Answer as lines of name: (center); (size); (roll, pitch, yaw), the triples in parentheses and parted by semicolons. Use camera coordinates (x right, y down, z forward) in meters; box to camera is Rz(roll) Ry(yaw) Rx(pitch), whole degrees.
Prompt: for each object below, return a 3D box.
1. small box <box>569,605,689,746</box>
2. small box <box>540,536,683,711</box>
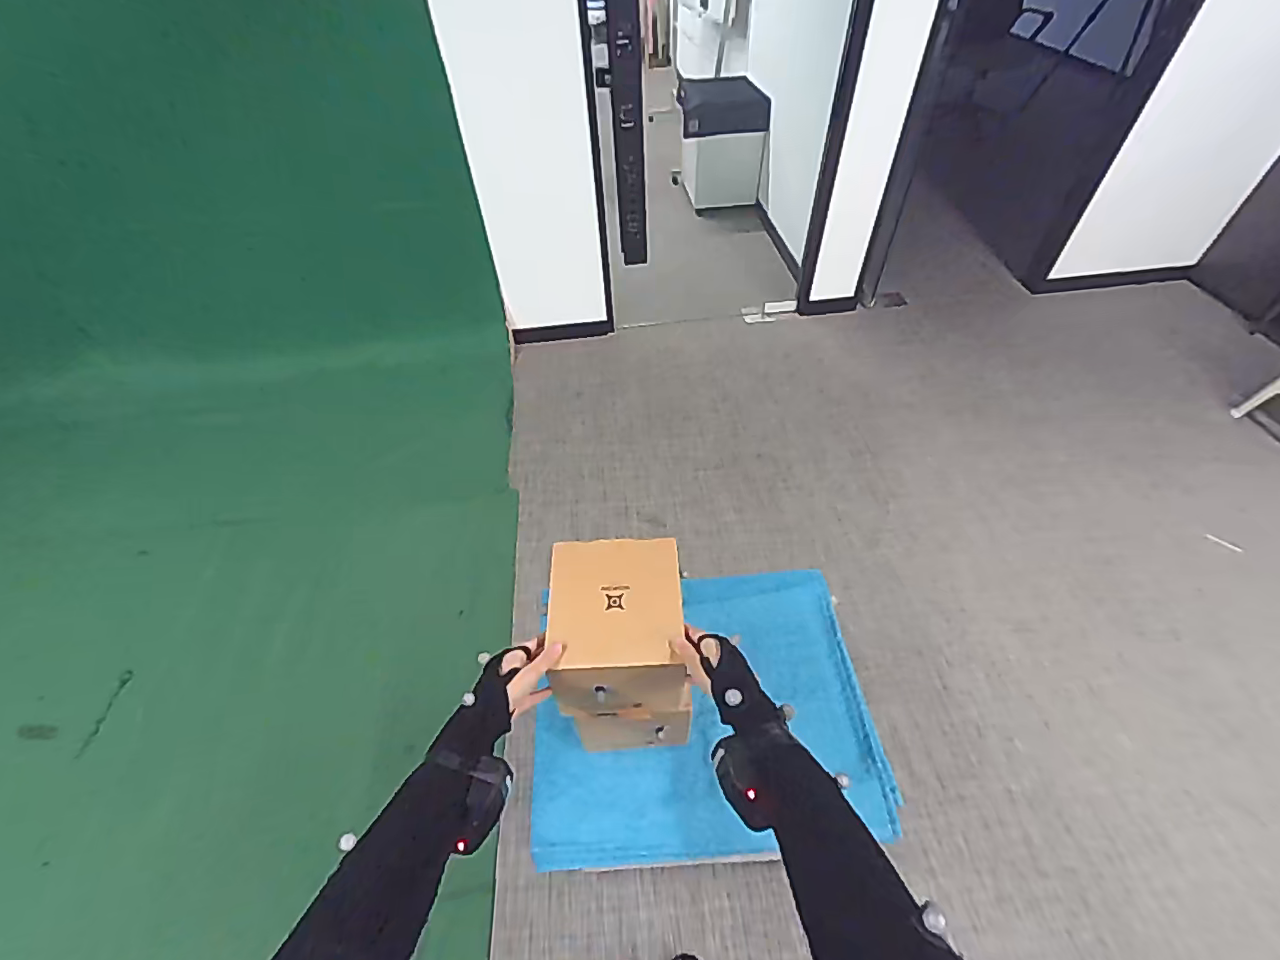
small box: (-0.015, 0.301, 0.839); (0.168, 0.176, 0.179); (-3, 48, -2)
small box: (-0.031, 0.195, 0.718); (0.168, 0.176, 0.179); (-2, 48, -1)
